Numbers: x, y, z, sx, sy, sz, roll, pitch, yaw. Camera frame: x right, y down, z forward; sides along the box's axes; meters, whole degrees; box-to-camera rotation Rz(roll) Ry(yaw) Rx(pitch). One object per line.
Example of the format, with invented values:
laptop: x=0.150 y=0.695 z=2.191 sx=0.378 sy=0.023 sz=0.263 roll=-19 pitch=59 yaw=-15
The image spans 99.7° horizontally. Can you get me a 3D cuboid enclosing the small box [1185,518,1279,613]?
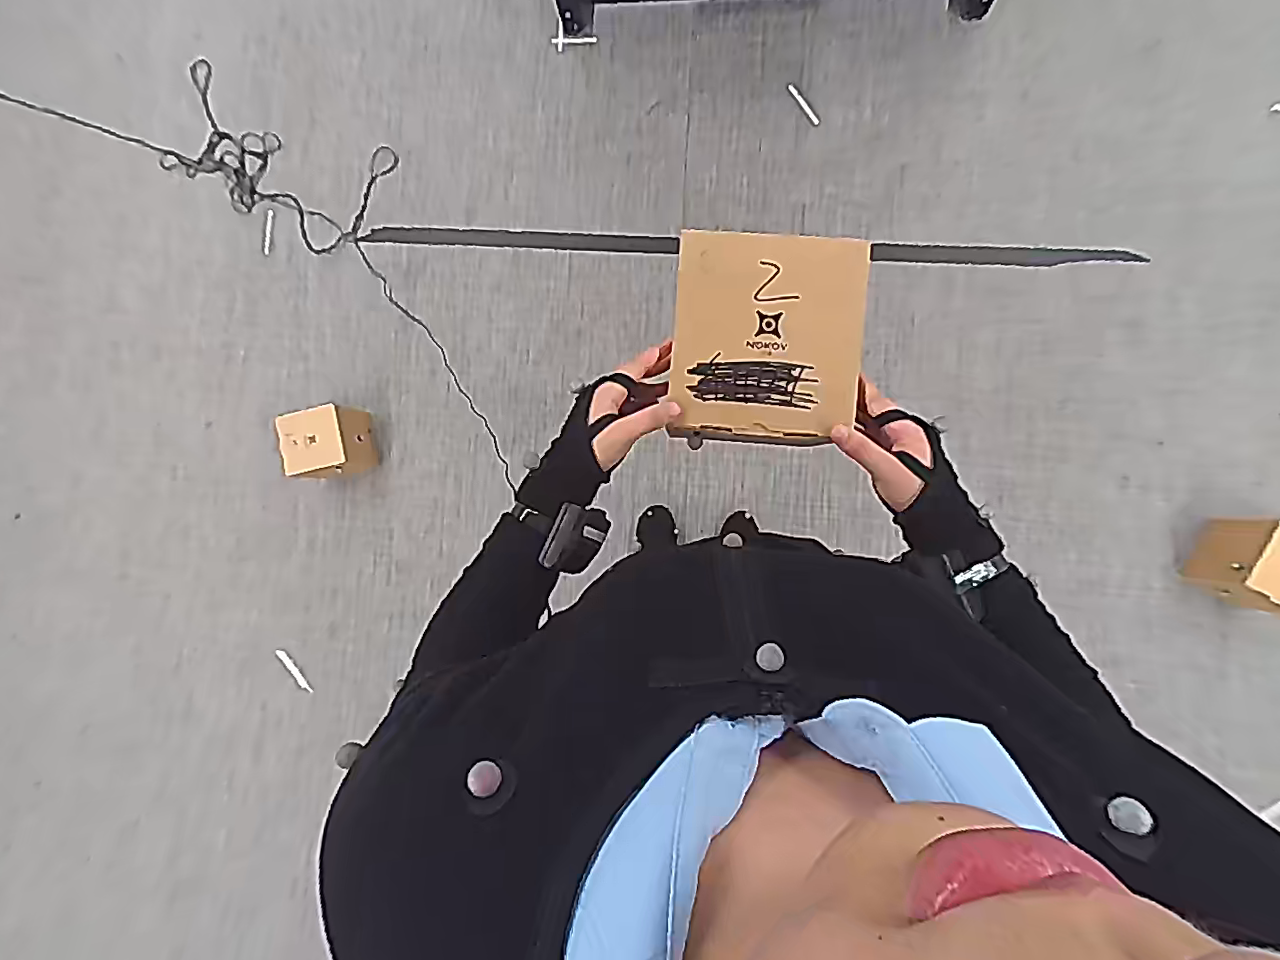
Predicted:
small box: x=1.487 y=0.202 z=1.297 sx=0.168 sy=0.176 sz=0.179 roll=28 pitch=91 yaw=5

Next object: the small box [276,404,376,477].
small box: x=-0.870 y=-0.106 z=1.520 sx=0.179 sy=0.176 sz=0.168 roll=-13 pitch=87 yaw=5
